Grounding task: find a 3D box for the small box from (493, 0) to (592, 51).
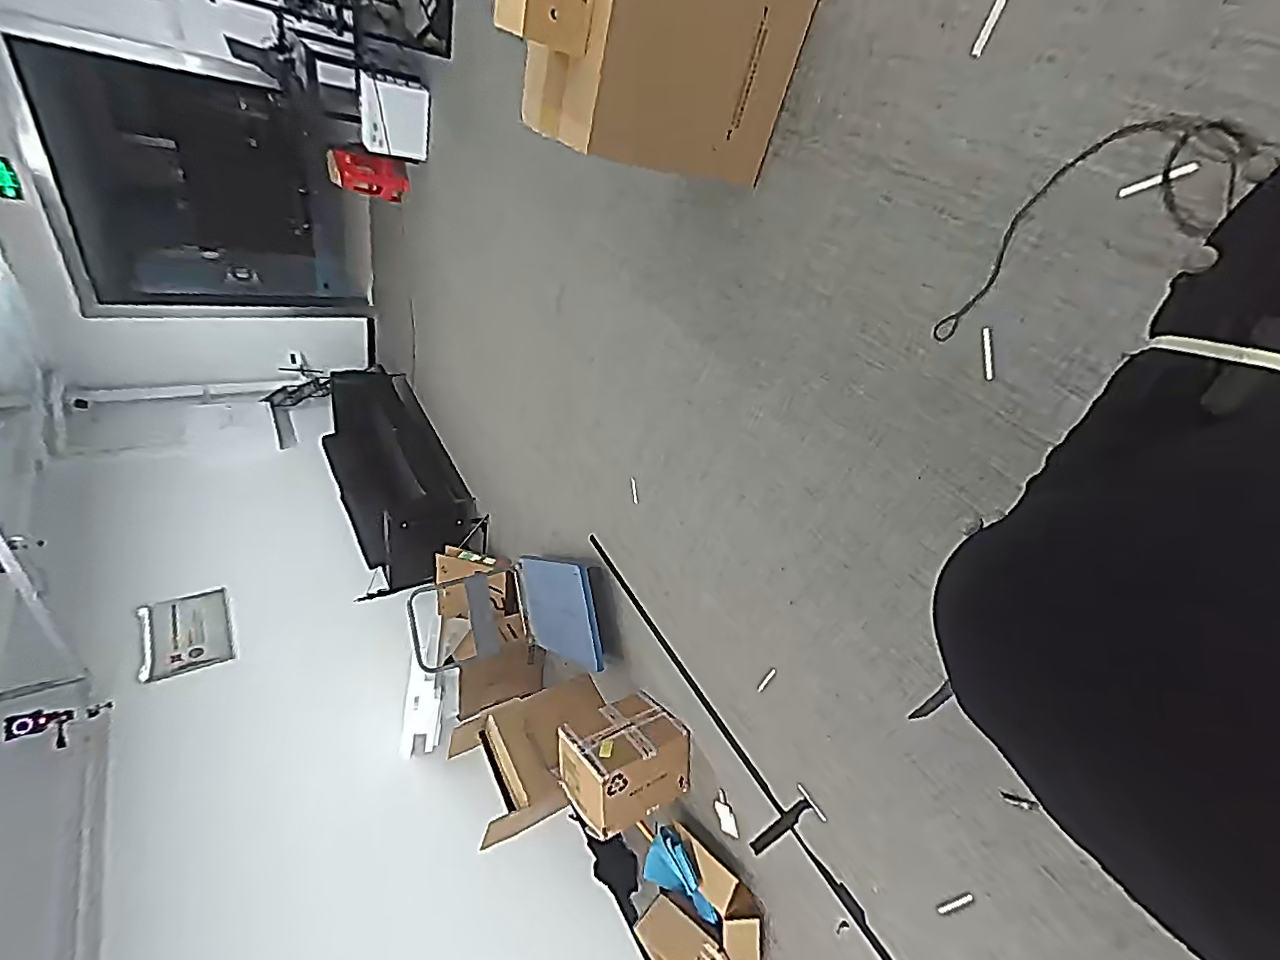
[{"bbox_3d":[-0.219,-1.115,1.239,0.179,0.176,0.168,51,137,35],"label":"small box"}]
